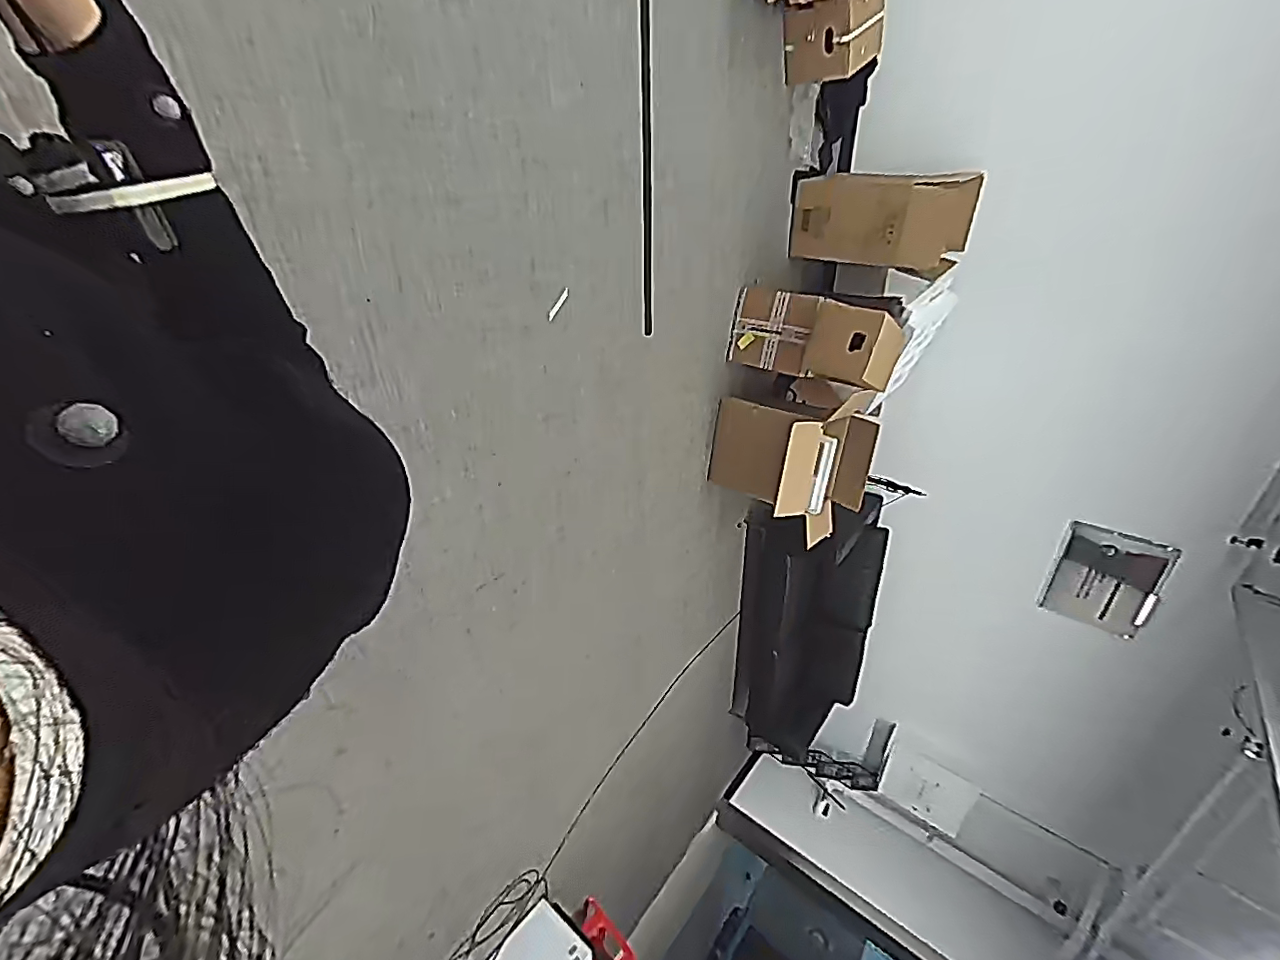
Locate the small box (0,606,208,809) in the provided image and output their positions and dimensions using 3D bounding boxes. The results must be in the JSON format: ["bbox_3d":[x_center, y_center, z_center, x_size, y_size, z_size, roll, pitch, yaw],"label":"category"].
[{"bbox_3d":[-0.773,0.316,0.786,0.168,0.176,0.179,-25,125,-48],"label":"small box"}]
